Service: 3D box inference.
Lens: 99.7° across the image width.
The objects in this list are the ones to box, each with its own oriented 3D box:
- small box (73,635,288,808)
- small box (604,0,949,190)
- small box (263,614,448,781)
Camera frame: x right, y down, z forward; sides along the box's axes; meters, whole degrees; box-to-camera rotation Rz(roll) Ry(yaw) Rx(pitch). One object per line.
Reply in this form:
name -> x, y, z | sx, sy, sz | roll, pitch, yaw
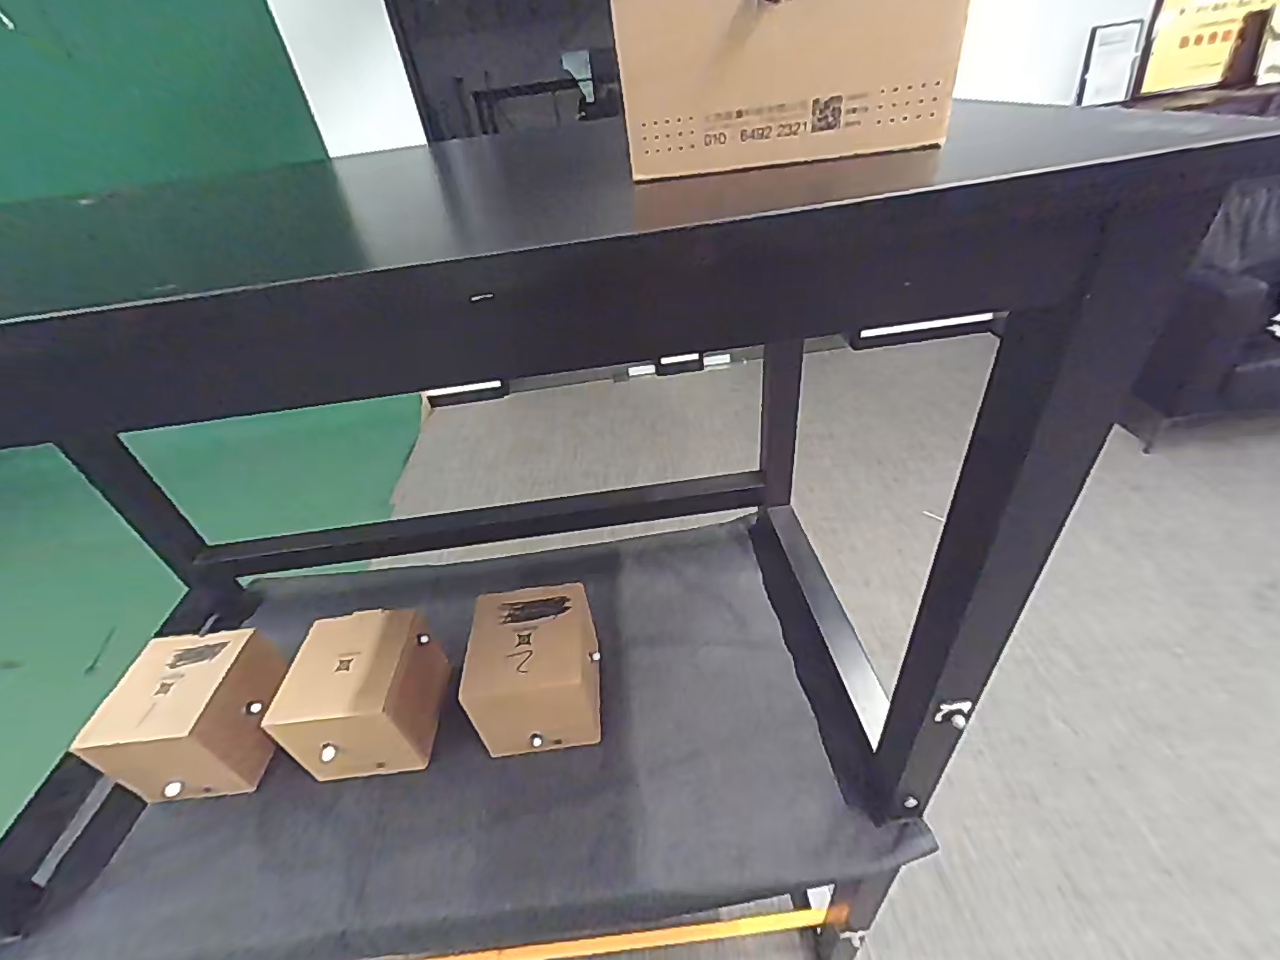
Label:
small box -> -0.662, 0.364, 0.822 | 0.168, 0.176, 0.179 | -7, 37, 1
small box -> 0.073, -0.278, 0.315 | 0.168, 0.176, 0.179 | -1, 37, 9
small box -> -0.411, 0.333, 0.821 | 0.168, 0.176, 0.179 | -7, 36, 1
